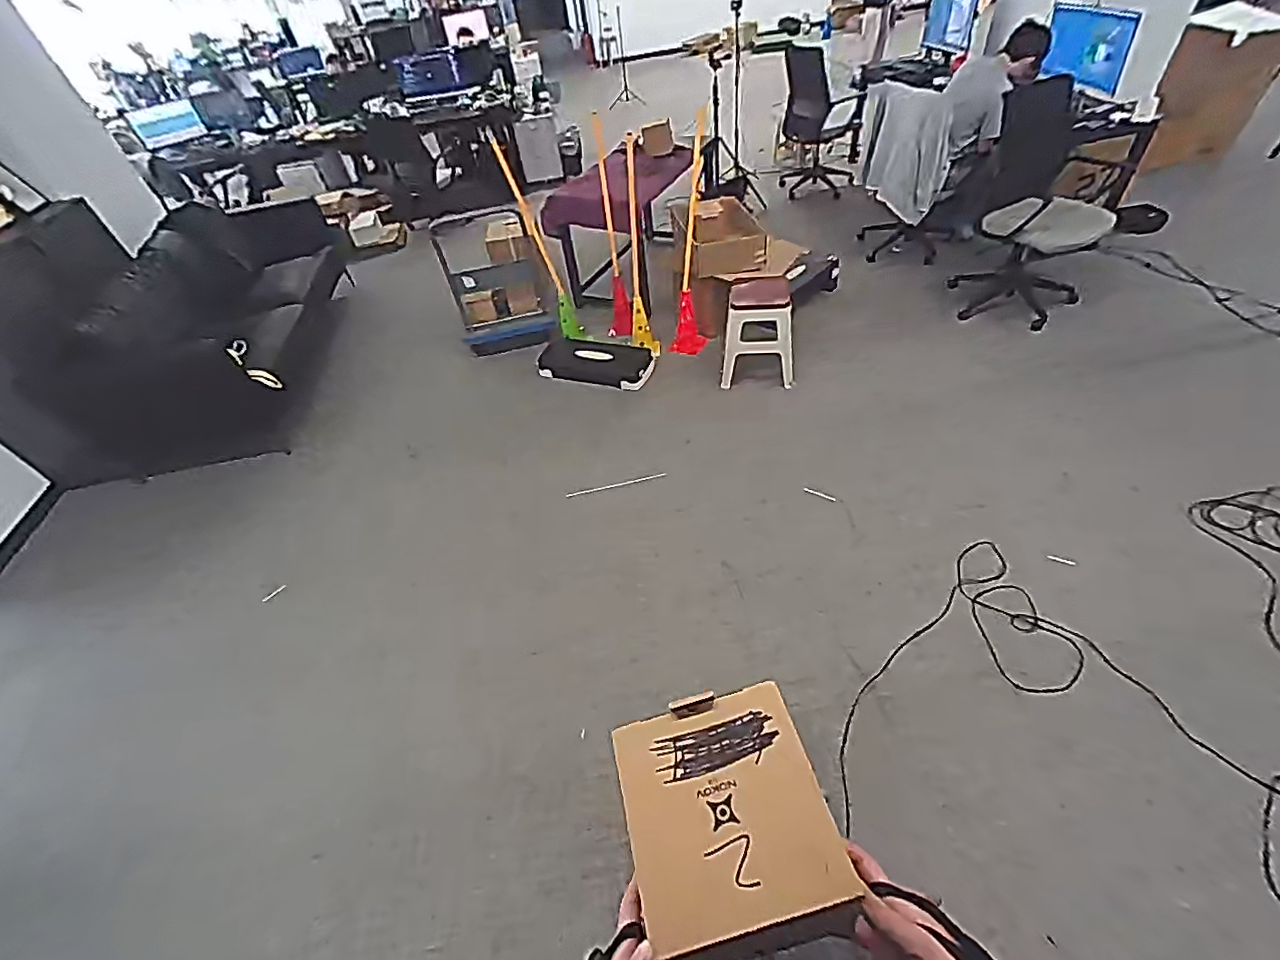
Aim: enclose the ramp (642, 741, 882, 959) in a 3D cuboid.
[{"bbox_3d":[0.312,1.135,1.258,0.509,0.206,0.991,-14,45,-3],"label":"ramp"}]
